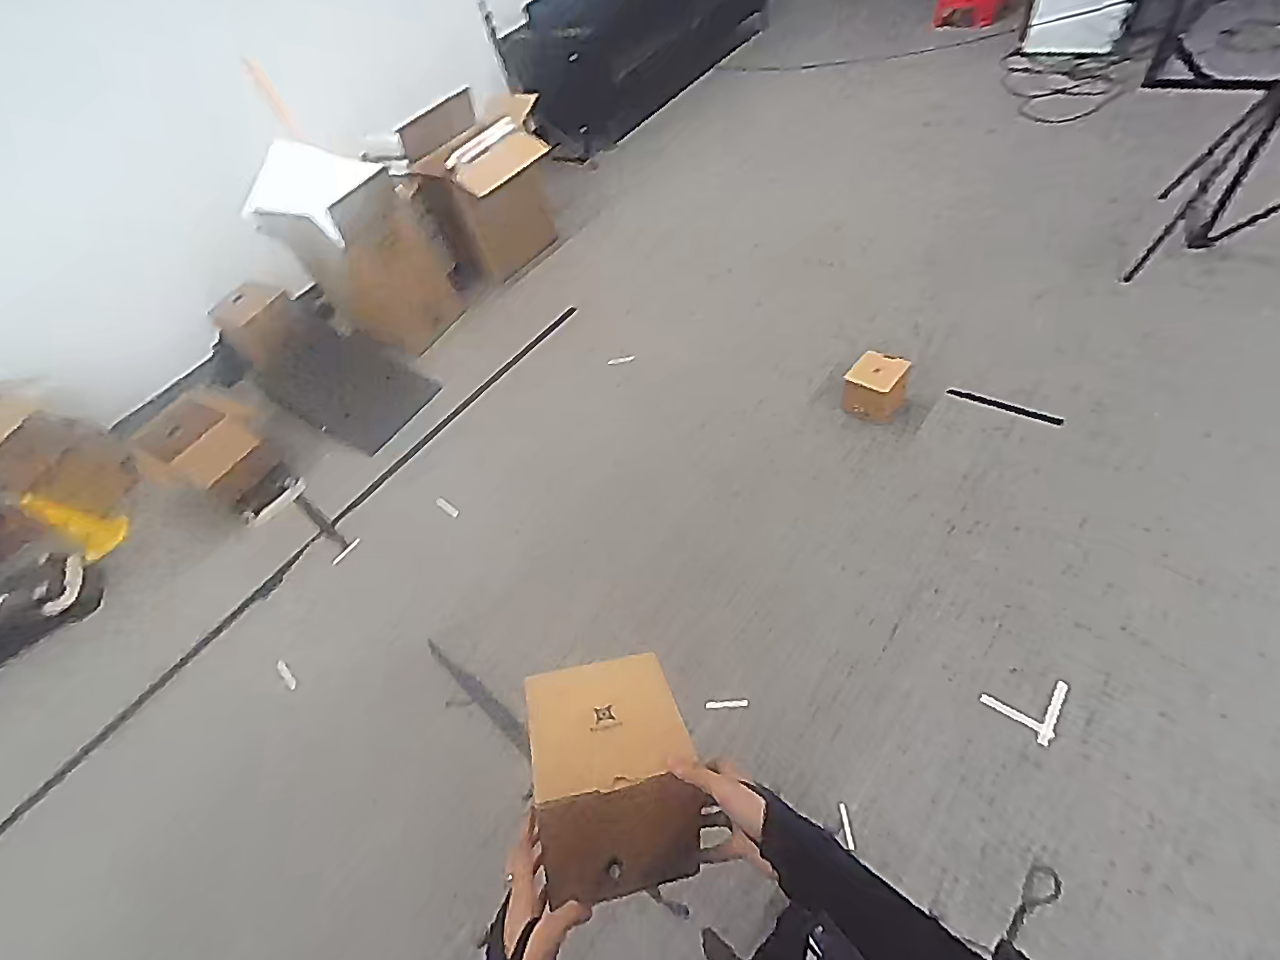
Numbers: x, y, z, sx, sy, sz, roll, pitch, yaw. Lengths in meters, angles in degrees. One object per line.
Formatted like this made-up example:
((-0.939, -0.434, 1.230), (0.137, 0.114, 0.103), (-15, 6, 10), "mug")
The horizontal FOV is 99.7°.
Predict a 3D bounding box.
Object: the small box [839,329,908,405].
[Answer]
((0.827, -0.401, 1.931), (0.168, 0.176, 0.179), (31, 67, 34), "small box")

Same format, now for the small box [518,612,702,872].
((-0.042, 0.274, 0.592), (0.168, 0.176, 0.179), (-6, 25, -14), "small box")
